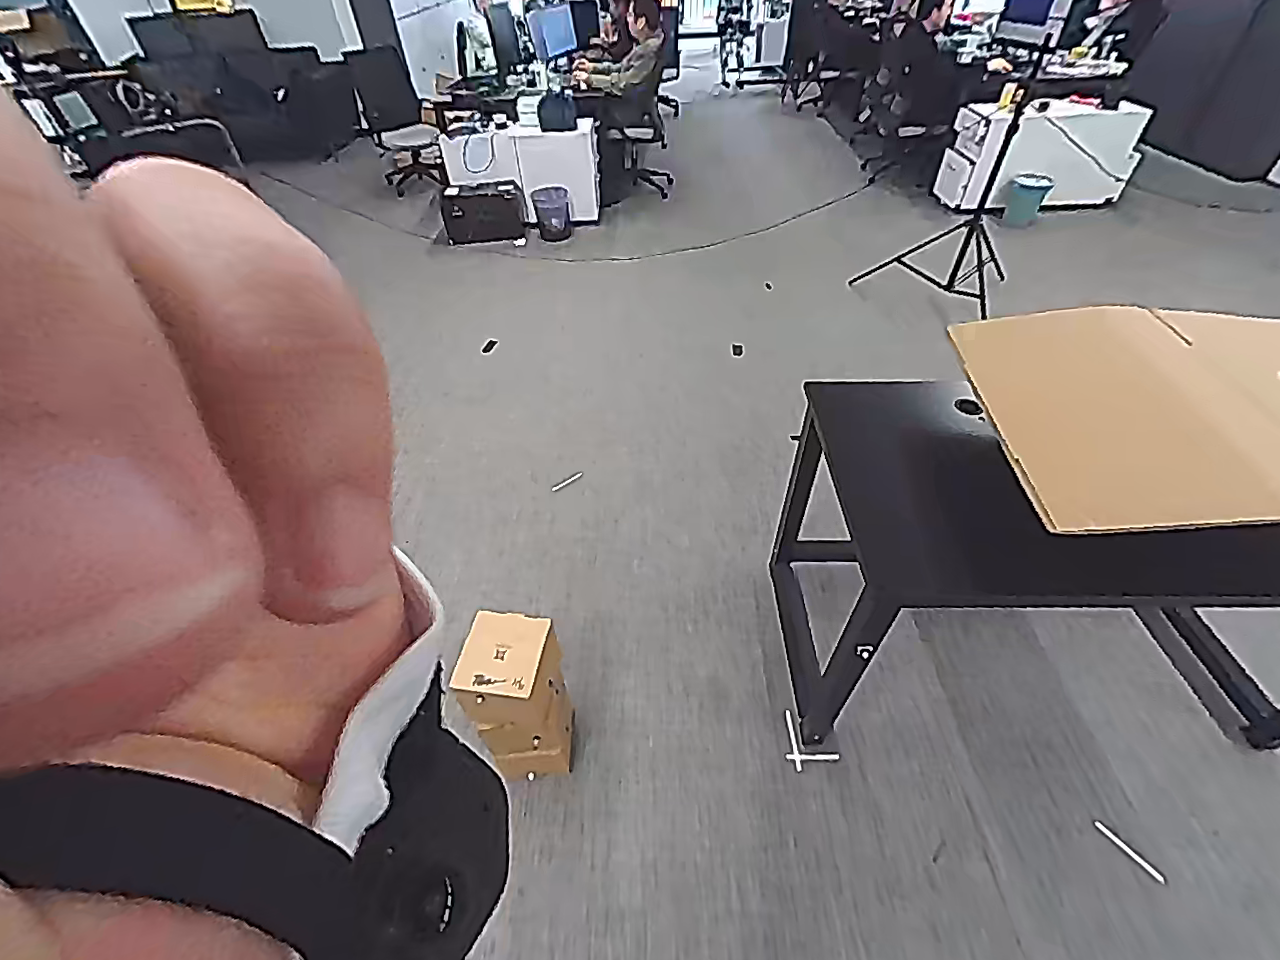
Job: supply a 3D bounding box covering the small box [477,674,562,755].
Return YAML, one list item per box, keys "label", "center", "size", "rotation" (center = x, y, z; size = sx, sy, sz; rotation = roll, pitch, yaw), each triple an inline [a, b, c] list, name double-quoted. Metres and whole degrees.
- label: "small box"
  center: [-0.275, 0.531, 1.276]
  size: [0.168, 0.176, 0.179]
  rotation: [-5, 43, -4]

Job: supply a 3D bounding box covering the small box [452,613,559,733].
- label: "small box"
  center: [-0.277, 0.414, 1.161]
  size: [0.168, 0.176, 0.179]
  rotation: [4, 44, 7]

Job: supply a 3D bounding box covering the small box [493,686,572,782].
- label: "small box"
  center: [-0.267, 0.651, 1.386]
  size: [0.168, 0.176, 0.179]
  rotation: [-4, 45, -1]
